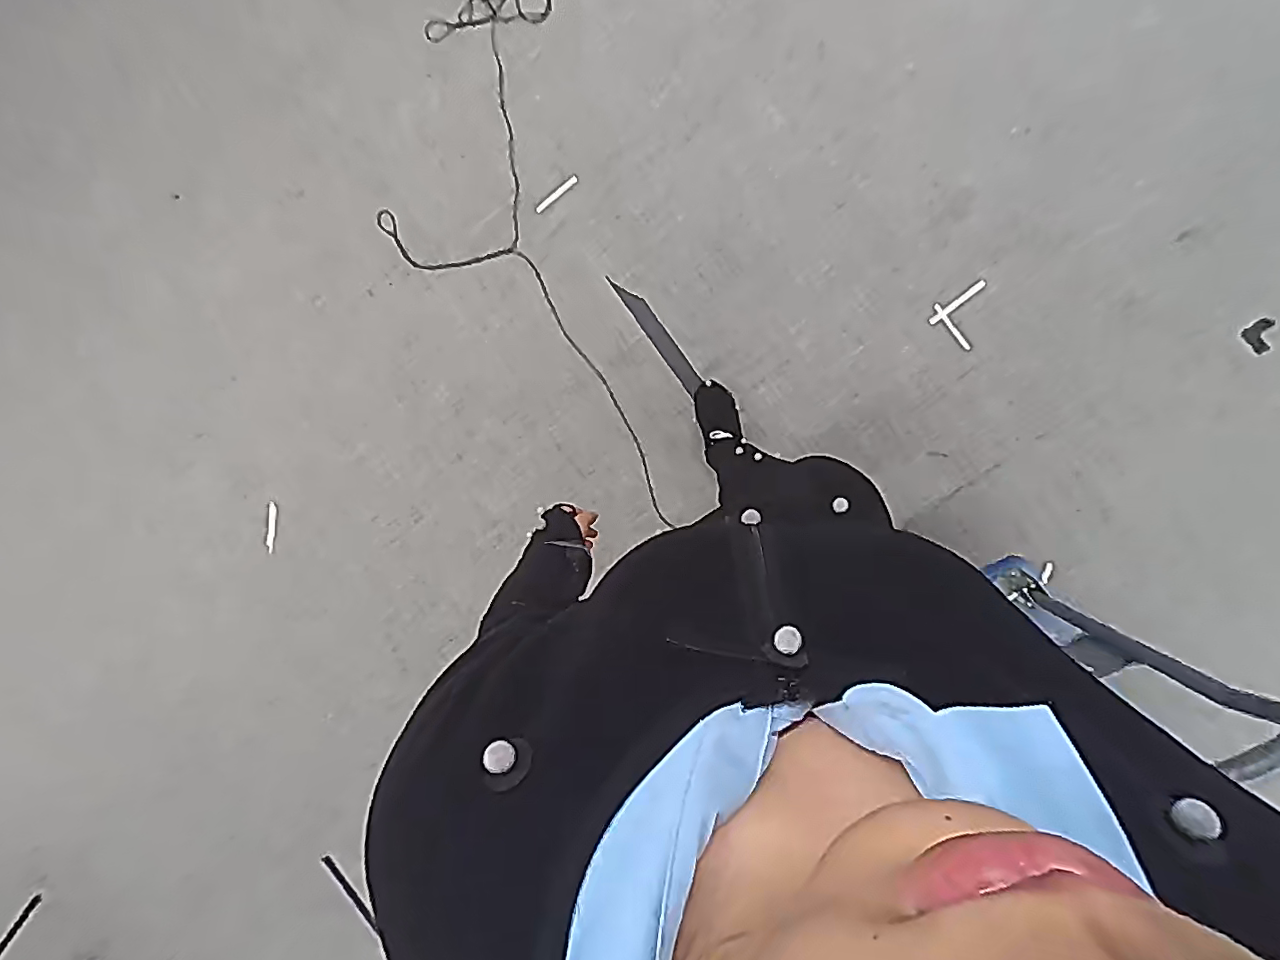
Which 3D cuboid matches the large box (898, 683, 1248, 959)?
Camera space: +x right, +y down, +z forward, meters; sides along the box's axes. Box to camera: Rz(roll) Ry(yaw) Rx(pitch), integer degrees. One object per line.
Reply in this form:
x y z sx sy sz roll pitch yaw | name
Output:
0.837 0.699 1.121 0.408 0.320 0.320 -31 90 9 | large box
